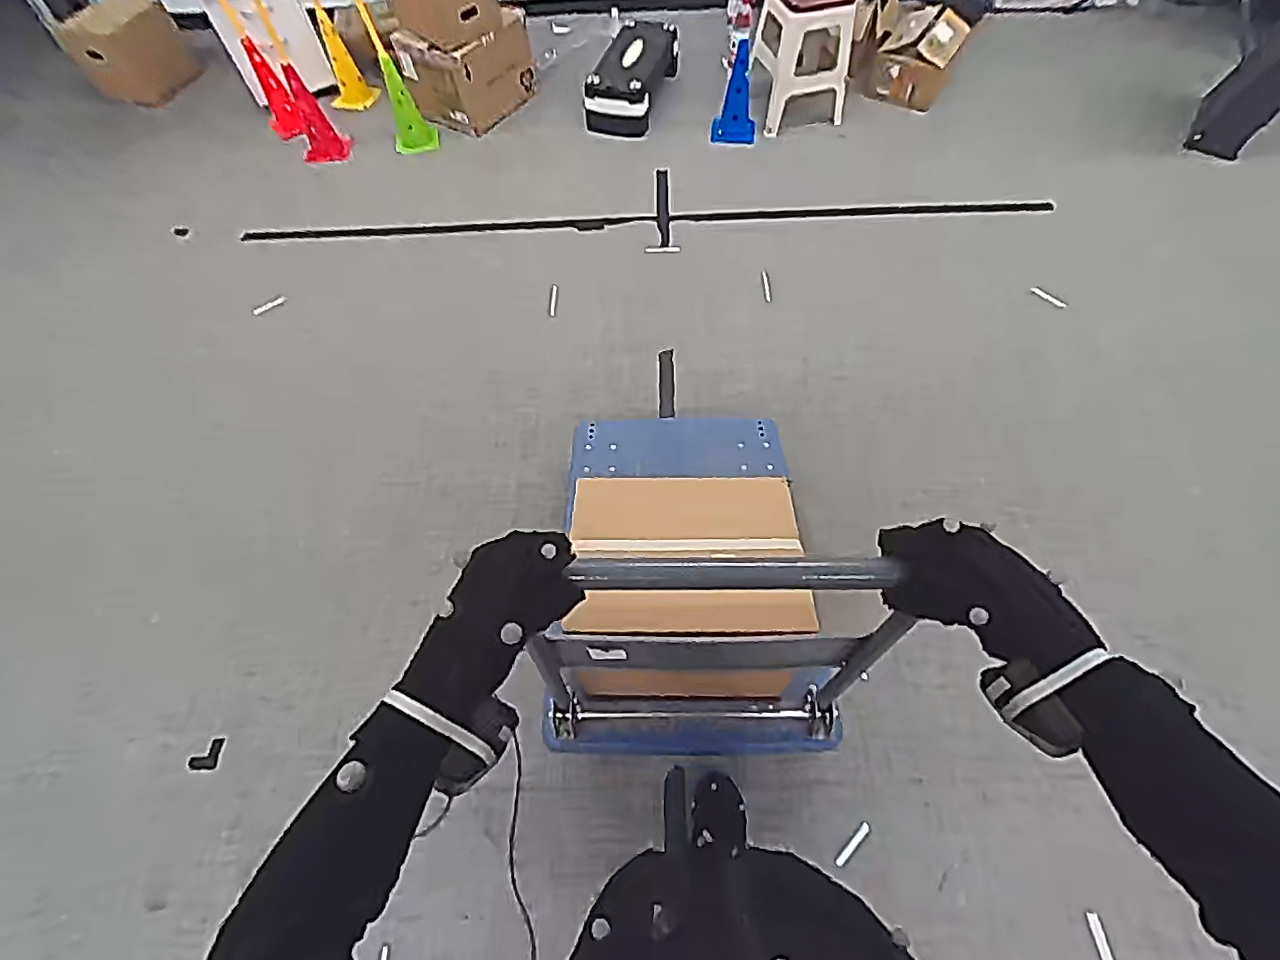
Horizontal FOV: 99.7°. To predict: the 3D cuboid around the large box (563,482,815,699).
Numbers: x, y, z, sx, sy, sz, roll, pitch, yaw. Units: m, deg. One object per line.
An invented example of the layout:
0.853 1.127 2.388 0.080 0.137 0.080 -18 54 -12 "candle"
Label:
0.075 0.218 1.048 0.408 0.320 0.320 0 51 0 "large box"
